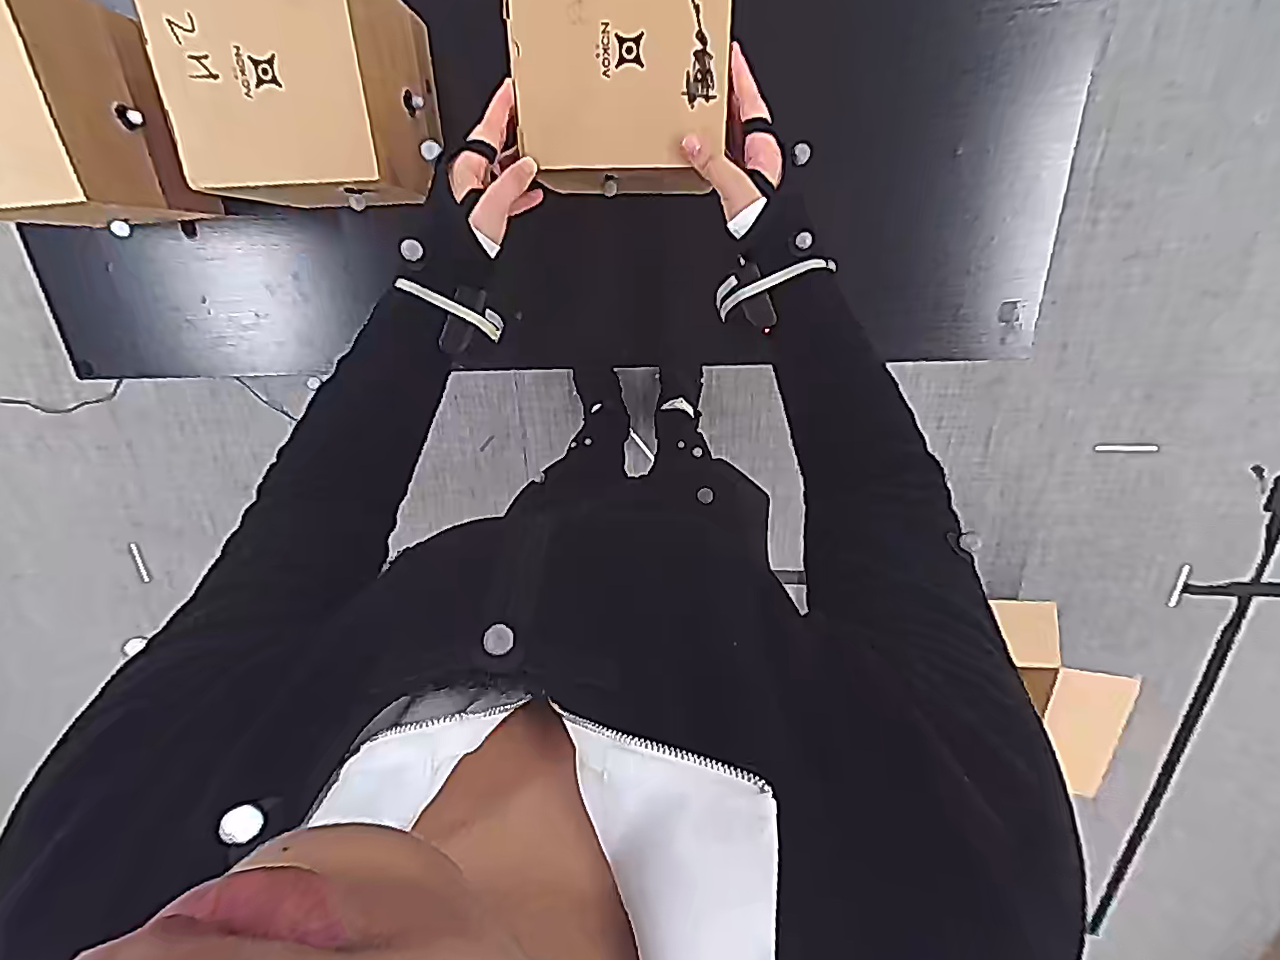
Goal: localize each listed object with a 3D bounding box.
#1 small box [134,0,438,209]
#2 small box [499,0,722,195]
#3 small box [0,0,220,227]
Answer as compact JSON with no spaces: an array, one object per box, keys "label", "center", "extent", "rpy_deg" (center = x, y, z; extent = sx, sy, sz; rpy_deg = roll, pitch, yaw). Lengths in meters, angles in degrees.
[{"label":"small box","center":[-0.311,-0.361,0.520],"extent":[0.179,0.176,0.168],"rpy_deg":[-1,111,3]},{"label":"small box","center":[-0.018,-0.367,0.504],"extent":[0.179,0.176,0.168],"rpy_deg":[2,112,3]},{"label":"small box","center":[-0.577,-0.356,0.535],"extent":[0.168,0.176,0.179],"rpy_deg":[-2,113,4]}]
